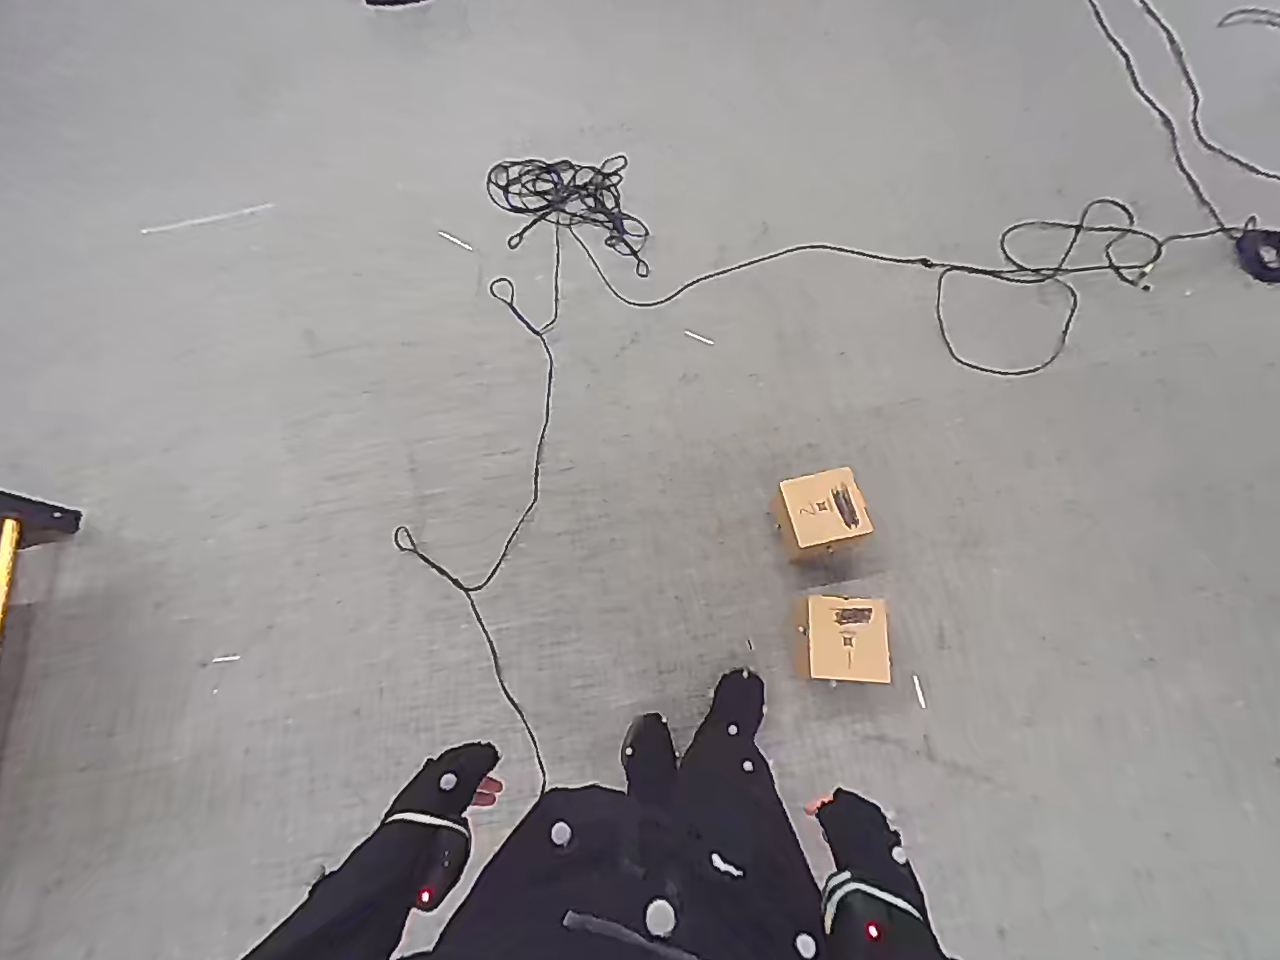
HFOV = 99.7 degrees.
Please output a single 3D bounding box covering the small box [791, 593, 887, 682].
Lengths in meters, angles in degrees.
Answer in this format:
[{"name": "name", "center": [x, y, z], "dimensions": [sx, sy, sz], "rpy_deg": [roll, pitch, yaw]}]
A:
[{"name": "small box", "center": [0.445, 0.362, 1.235], "dimensions": [0.168, 0.176, 0.179], "rpy_deg": [2, 72, 5]}]
